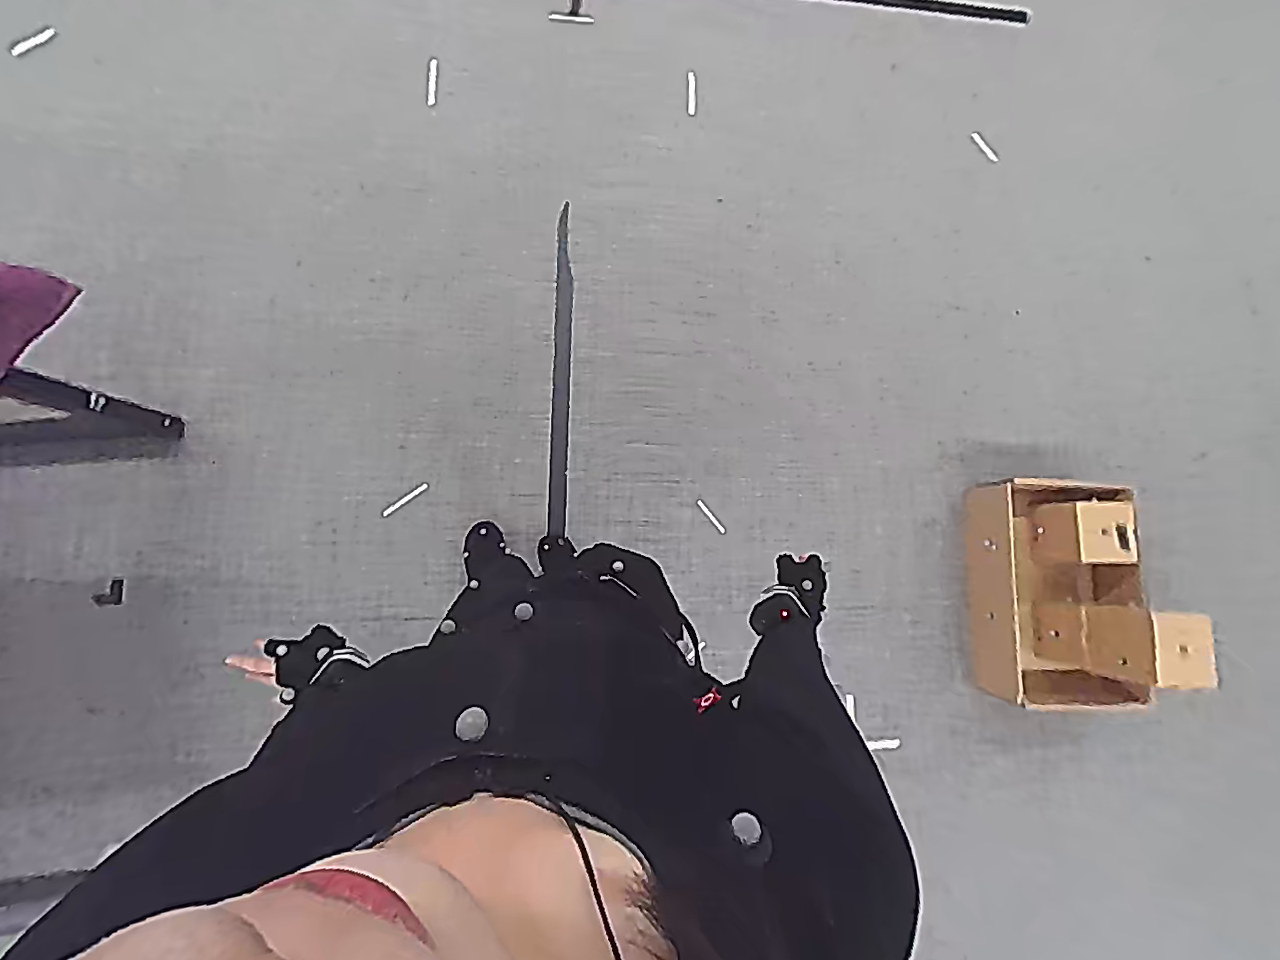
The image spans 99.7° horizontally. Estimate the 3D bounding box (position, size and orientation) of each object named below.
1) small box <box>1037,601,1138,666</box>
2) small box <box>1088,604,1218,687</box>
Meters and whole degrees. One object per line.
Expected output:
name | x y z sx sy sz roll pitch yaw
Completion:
small box | 1.259 0.432 1.525 0.179 0.176 0.168 3 79 -4
small box | 1.282 0.412 1.363 0.168 0.176 0.179 4 80 -7
